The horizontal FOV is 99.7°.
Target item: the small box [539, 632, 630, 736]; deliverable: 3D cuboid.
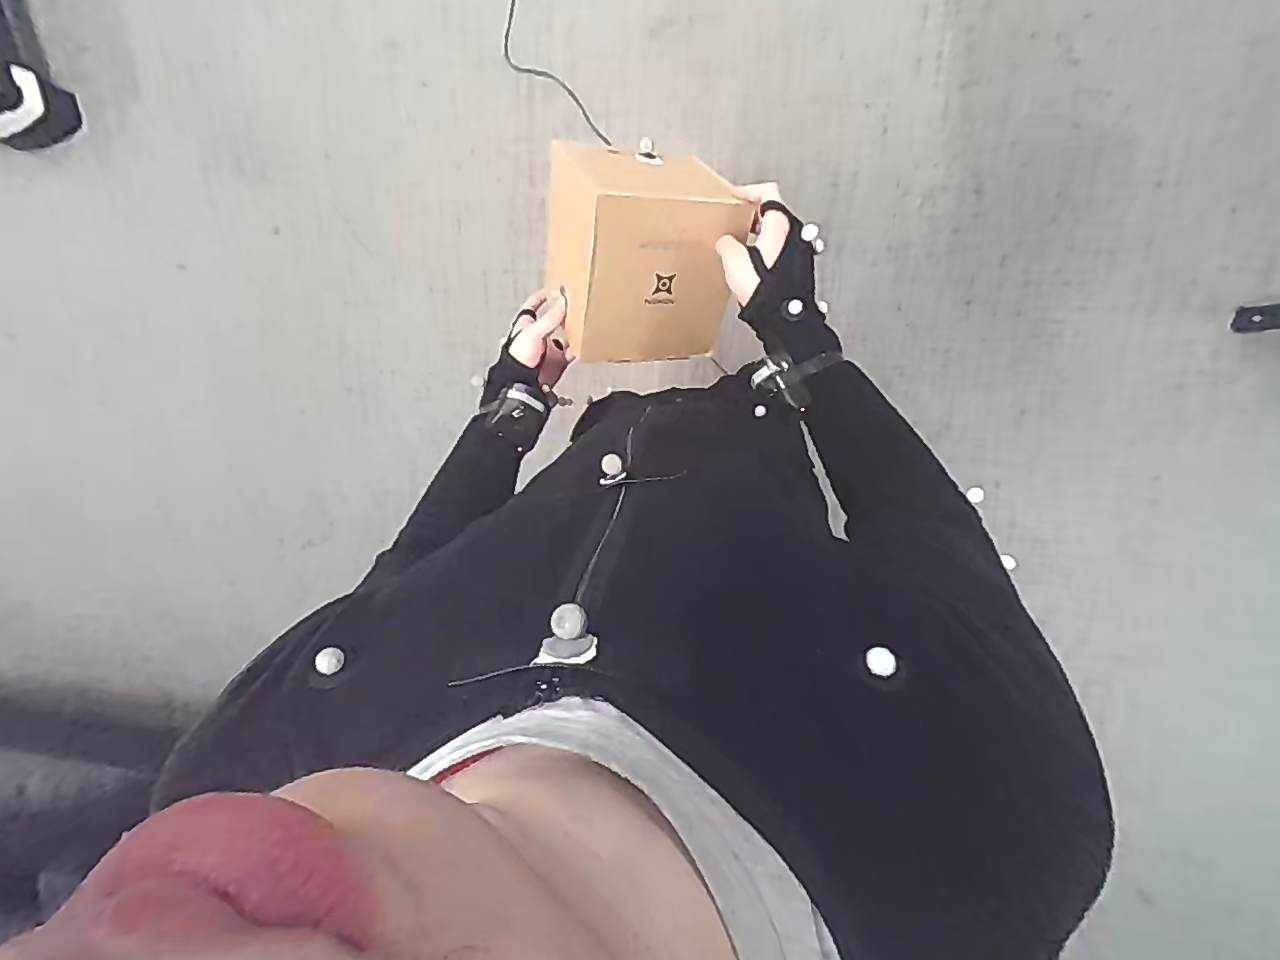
[{"bbox_3d":[-0.123,0.470,1.265,0.179,0.176,0.168,-1,101,7],"label":"small box"}]
